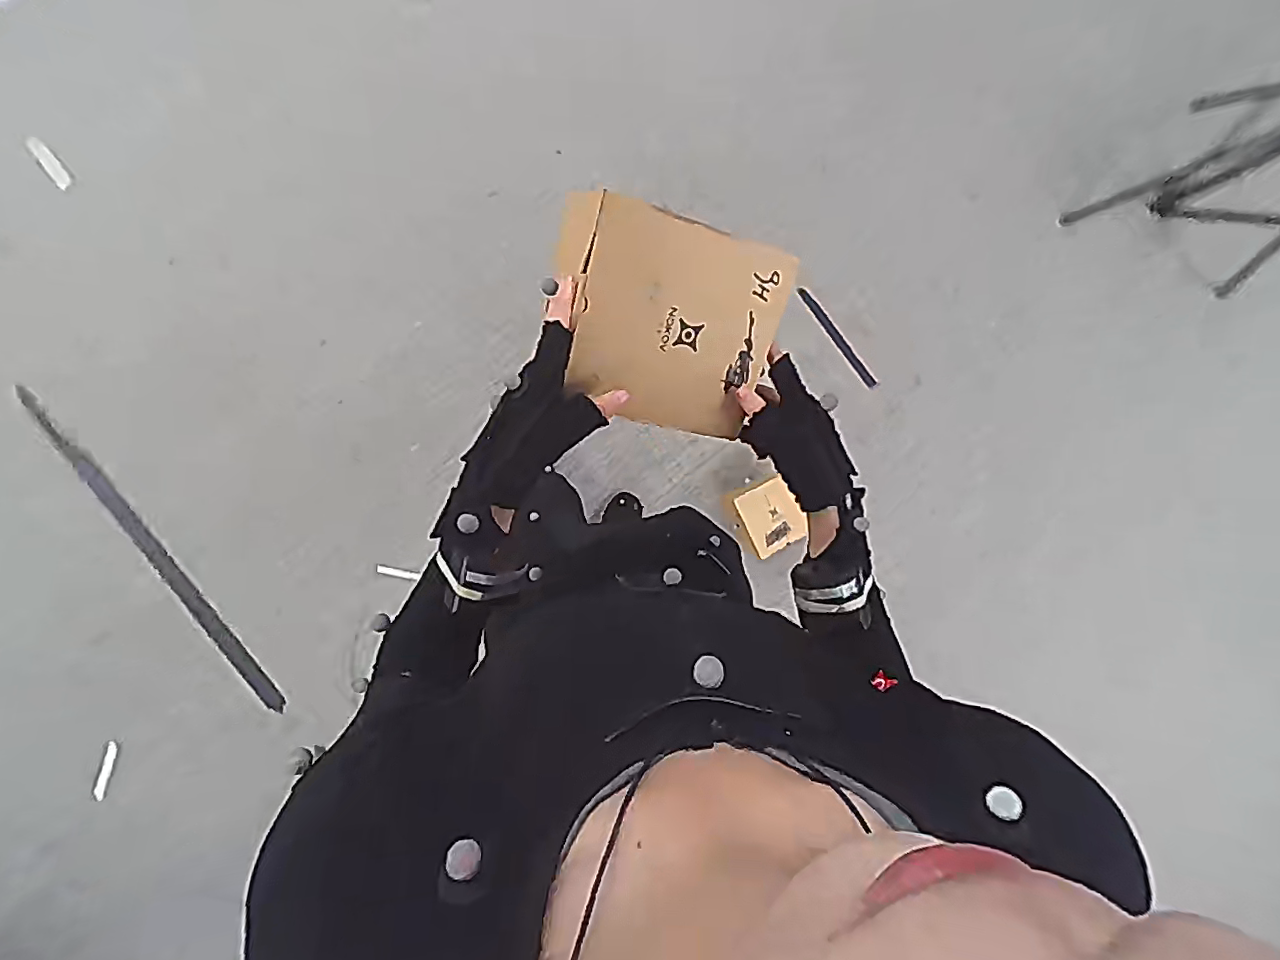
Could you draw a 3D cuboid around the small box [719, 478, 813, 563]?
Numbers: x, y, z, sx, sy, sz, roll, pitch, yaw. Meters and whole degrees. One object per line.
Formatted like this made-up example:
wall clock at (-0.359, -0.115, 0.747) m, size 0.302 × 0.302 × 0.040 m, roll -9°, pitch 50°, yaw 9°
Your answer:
small box at (0.336, 0.104, 1.472) m, size 0.168 × 0.176 × 0.179 m, roll -25°, pitch 91°, yaw -6°
